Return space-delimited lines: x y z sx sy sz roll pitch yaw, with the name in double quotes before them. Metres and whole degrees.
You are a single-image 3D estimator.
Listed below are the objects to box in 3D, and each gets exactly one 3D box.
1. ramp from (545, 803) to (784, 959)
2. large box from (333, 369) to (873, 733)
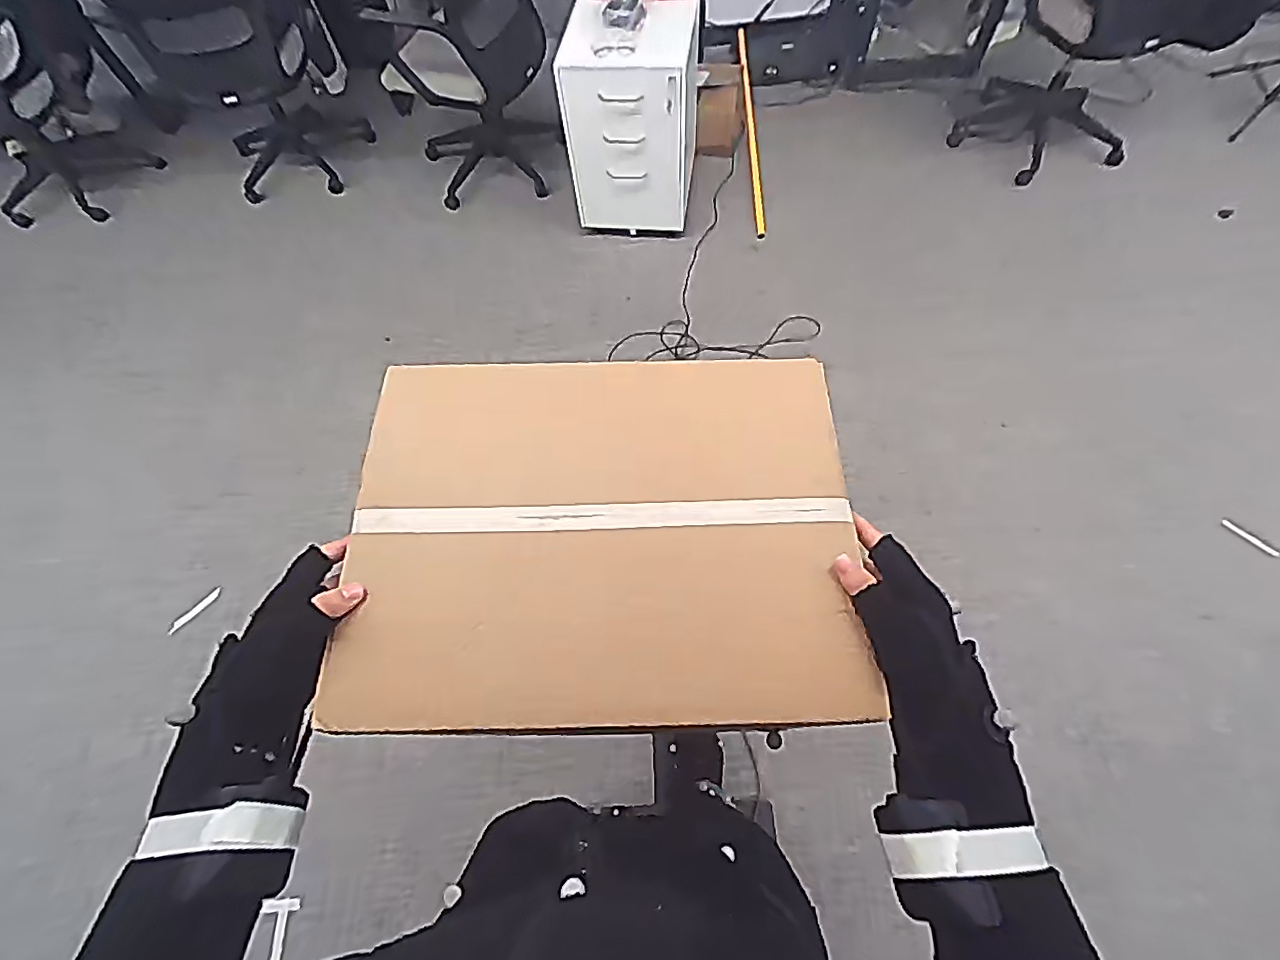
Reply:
"ramp" 0.052 1.159 0.959 0.509 0.206 0.991 -5 62 2
"large box" -0.028 0.098 0.589 0.408 0.320 0.320 -1 64 -1
